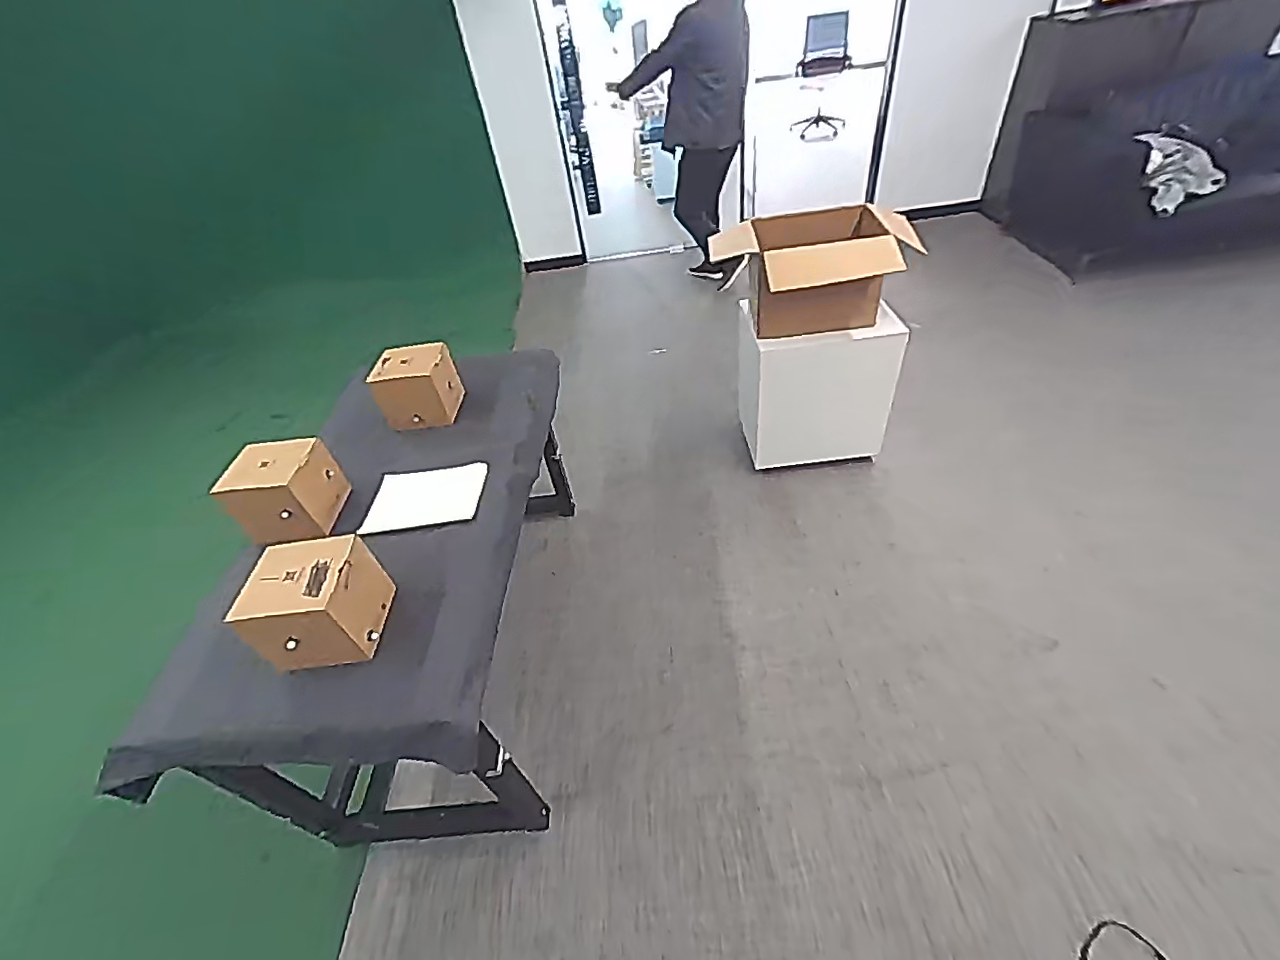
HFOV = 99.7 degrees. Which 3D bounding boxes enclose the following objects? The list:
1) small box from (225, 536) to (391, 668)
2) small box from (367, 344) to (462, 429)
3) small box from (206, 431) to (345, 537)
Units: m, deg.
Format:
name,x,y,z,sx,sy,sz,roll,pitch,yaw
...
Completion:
name,x,y,z,sx,sy,sz,roll,pitch,yaw
small box,-0.589,0.225,0.992,0.179,0.176,0.168,-7,42,2
small box,-0.616,-0.258,1.508,0.179,0.176,0.168,-5,43,3
small box,-0.813,0.012,1.234,0.179,0.176,0.168,-7,42,3
